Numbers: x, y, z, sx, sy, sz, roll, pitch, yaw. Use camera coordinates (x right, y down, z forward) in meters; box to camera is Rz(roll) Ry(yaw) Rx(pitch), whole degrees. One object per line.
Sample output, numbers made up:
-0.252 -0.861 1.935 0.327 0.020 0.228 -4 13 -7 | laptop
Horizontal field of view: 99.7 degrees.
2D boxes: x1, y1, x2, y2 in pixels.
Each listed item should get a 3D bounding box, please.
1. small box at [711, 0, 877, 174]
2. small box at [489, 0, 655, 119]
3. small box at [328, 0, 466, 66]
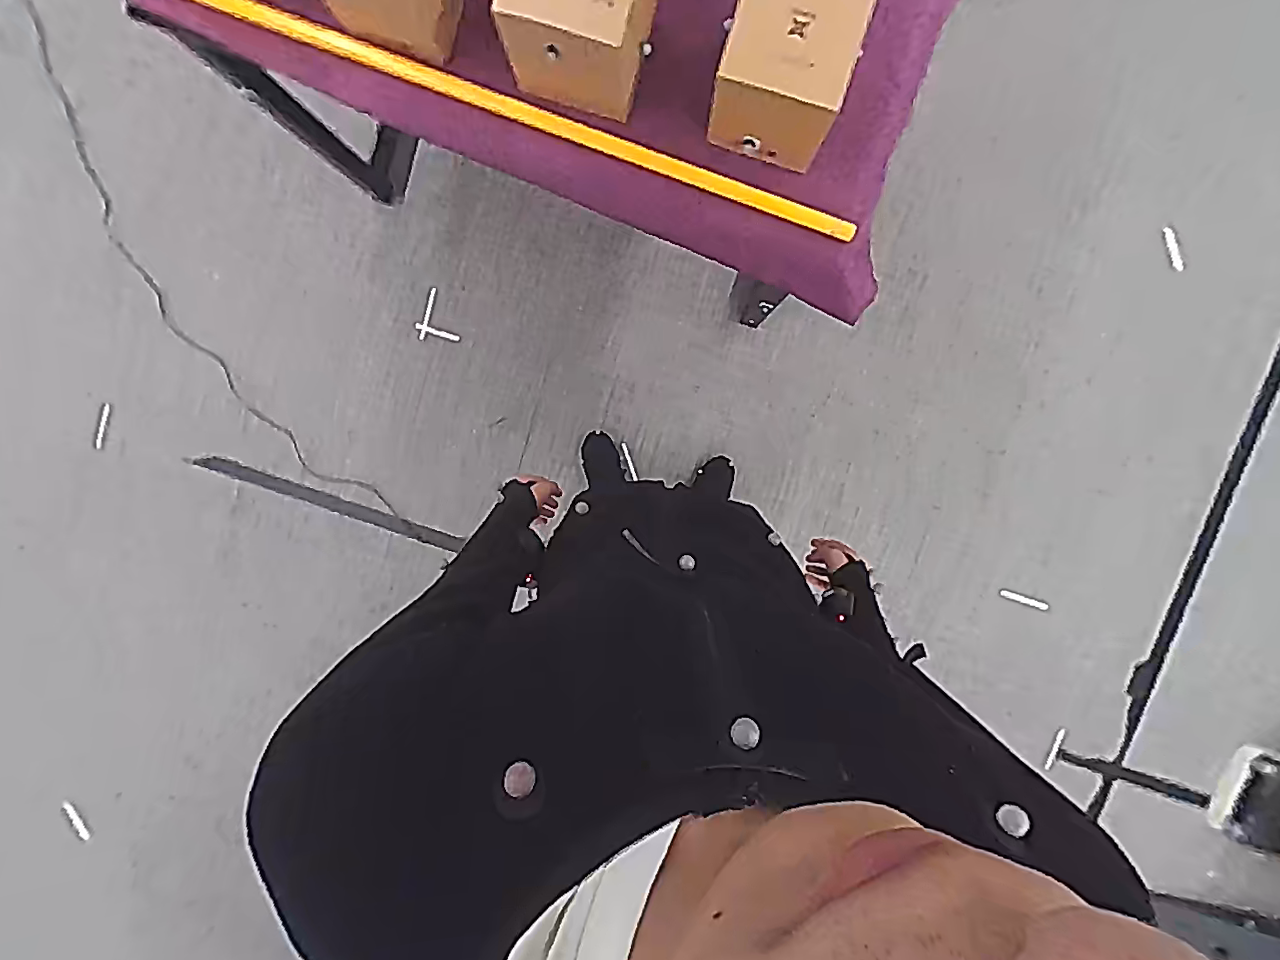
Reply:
0.204 -0.576 0.760 0.168 0.176 0.179 18 94 1 | small box
-0.084 -0.653 0.761 0.179 0.176 0.168 17 94 0 | small box
-0.355 -0.746 0.760 0.168 0.176 0.179 19 95 1 | small box
